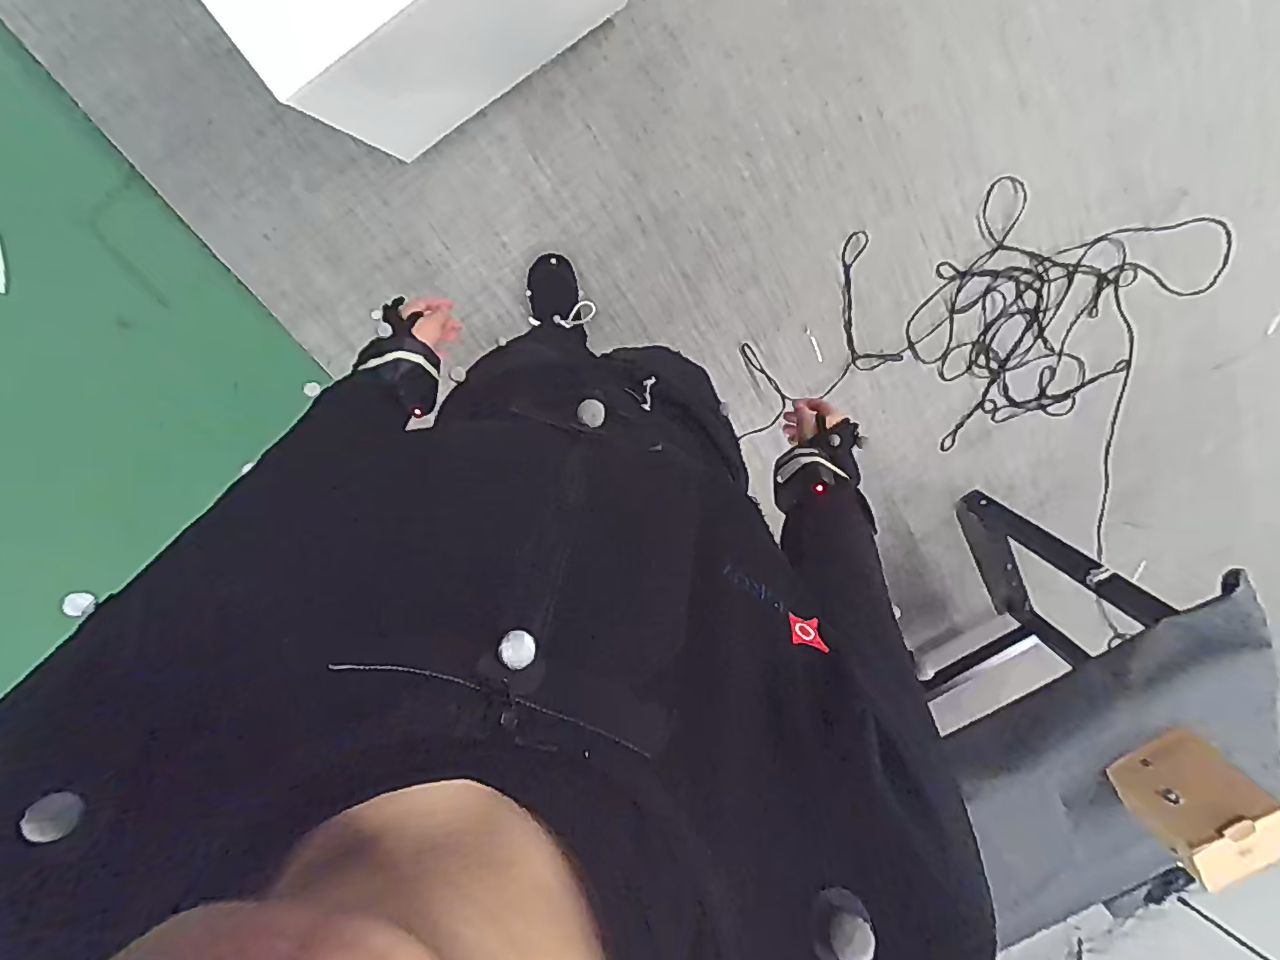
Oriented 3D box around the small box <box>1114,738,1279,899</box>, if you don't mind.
[{"bbox_3d":[1.025,0.607,0.988,0.168,0.176,0.179,-37,116,10],"label":"small box"}]
